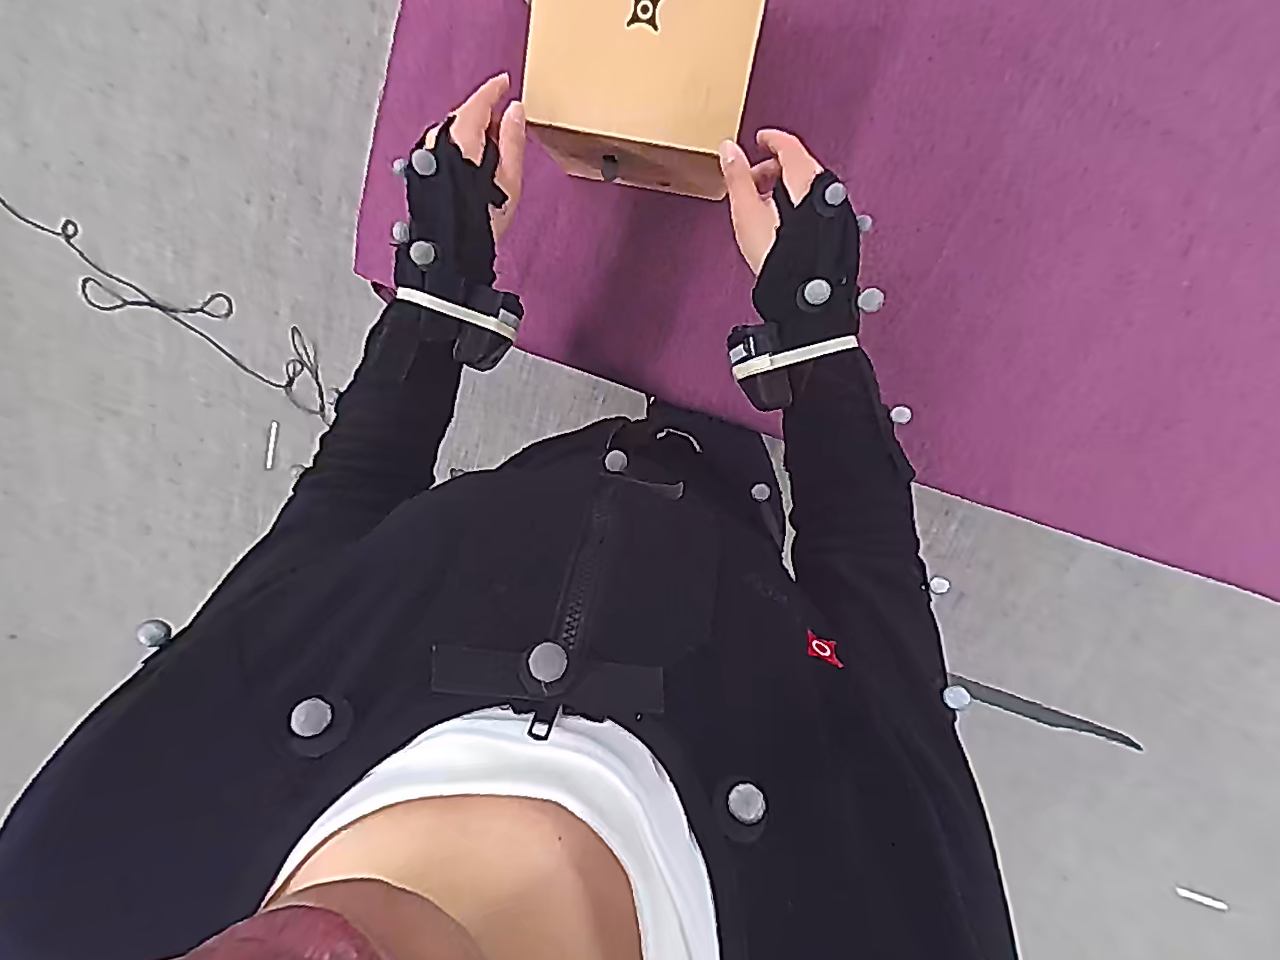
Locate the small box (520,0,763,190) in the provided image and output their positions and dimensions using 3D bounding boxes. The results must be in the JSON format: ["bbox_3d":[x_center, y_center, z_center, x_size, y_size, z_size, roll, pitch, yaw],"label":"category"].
[{"bbox_3d":[0.011,-0.365,0.456,0.168,0.176,0.179,11,107,2],"label":"small box"}]
